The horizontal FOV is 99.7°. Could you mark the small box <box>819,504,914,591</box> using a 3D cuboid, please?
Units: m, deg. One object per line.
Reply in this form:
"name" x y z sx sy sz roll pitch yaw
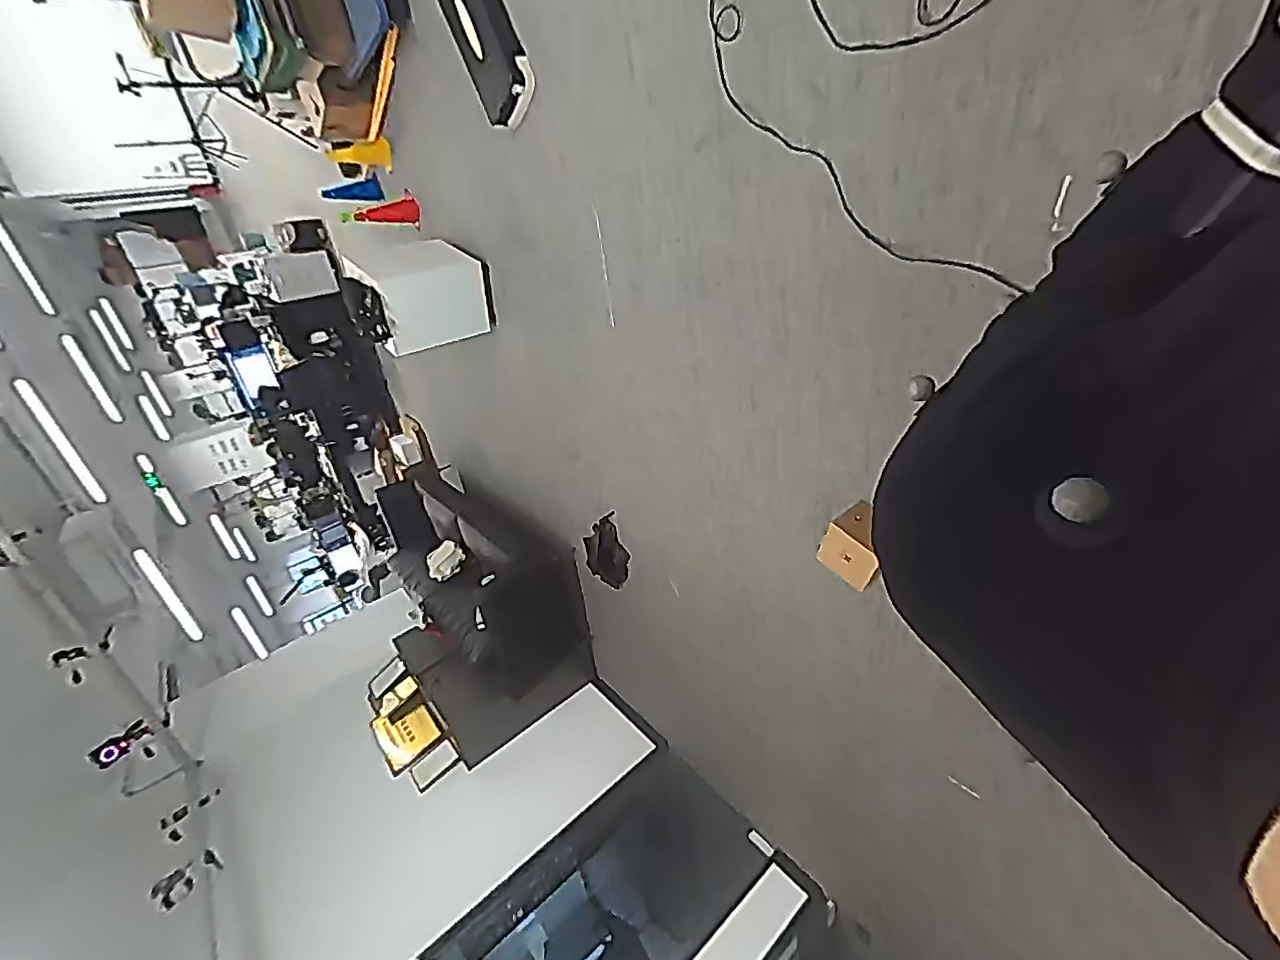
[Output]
"small box" 0.684 0.195 1.637 0.179 0.176 0.168 40 142 32
